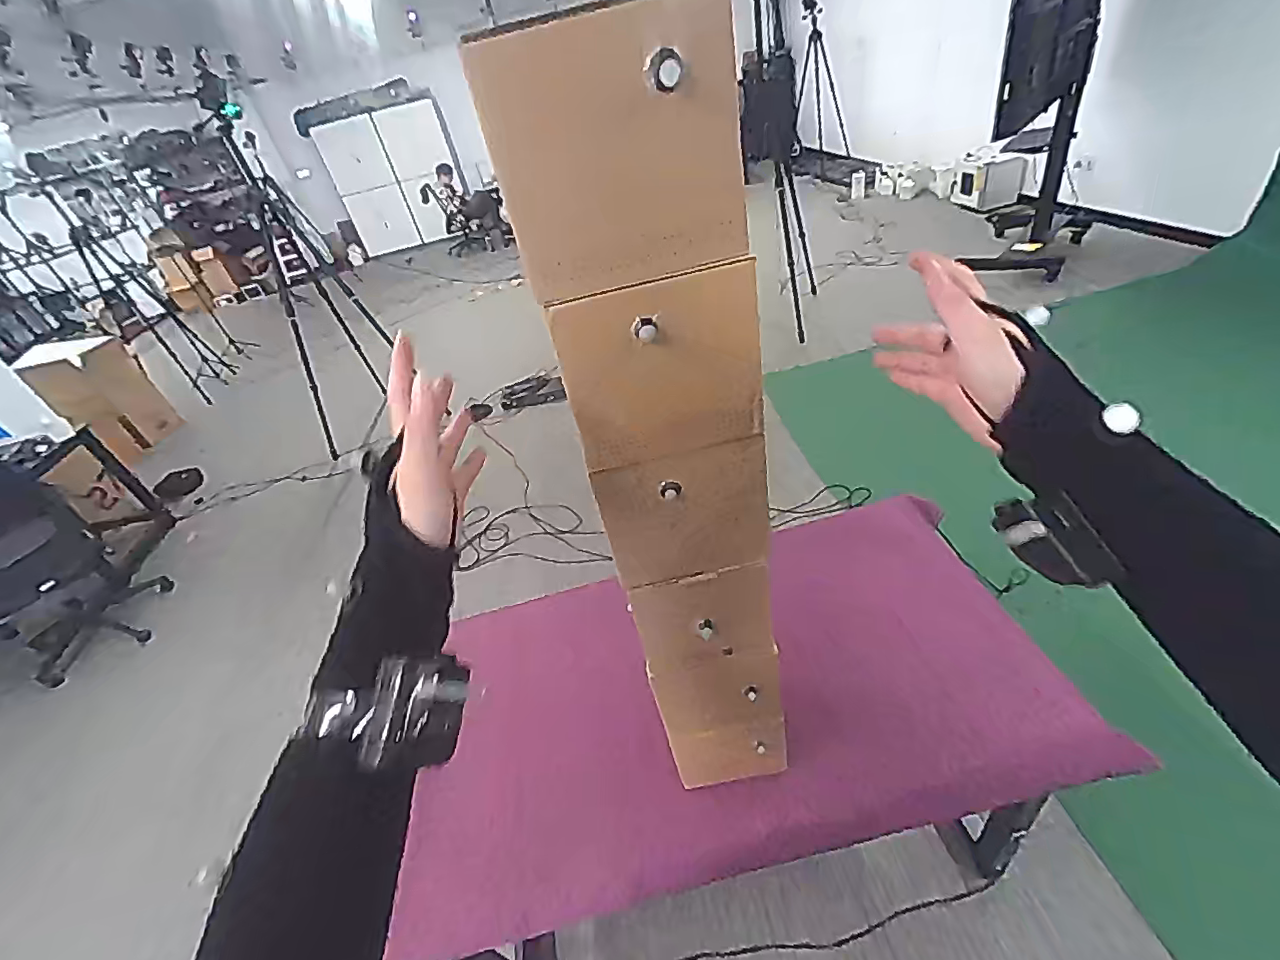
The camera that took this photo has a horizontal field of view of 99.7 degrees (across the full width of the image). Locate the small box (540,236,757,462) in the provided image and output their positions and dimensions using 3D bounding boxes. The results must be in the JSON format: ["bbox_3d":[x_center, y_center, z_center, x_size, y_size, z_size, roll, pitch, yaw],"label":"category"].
[{"bbox_3d":[0.012,-0.140,0.537,0.179,0.176,0.168,-13,36,2],"label":"small box"}]

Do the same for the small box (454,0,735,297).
[{"bbox_3d":[-0.024,-0.271,0.444,0.179,0.176,0.168,-13,36,2],"label":"small box"}]

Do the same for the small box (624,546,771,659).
[{"bbox_3d":[0.072,0.120,0.725,0.168,0.176,0.179,-12,37,3],"label":"small box"}]

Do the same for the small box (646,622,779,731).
[{"bbox_3d":[0.105,0.251,0.816,0.179,0.176,0.168,-13,36,3],"label":"small box"}]

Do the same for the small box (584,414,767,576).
[{"bbox_3d":[0.039,-0.010,0.630,0.179,0.176,0.168,-13,36,1],"label":"small box"}]
